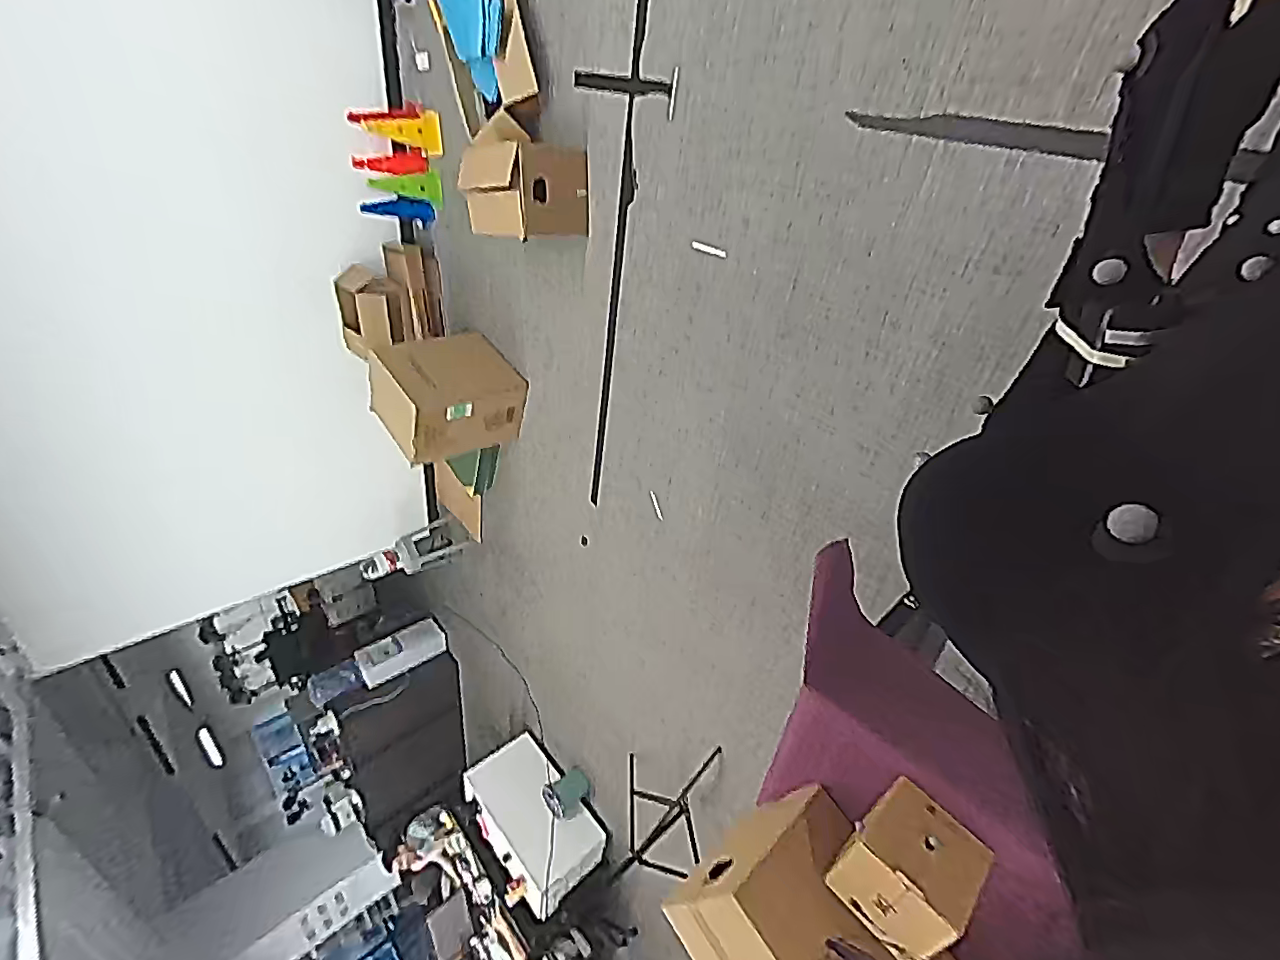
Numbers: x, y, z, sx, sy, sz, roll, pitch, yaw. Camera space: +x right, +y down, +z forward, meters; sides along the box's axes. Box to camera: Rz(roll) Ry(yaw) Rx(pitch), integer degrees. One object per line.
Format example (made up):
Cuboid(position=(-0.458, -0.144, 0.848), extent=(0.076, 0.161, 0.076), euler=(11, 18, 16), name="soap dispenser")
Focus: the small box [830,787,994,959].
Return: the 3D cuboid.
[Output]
Cuboid(position=(0.458, 0.665, 0.910), extent=(0.168, 0.176, 0.179), euler=(37, 132, 33), name="small box")
